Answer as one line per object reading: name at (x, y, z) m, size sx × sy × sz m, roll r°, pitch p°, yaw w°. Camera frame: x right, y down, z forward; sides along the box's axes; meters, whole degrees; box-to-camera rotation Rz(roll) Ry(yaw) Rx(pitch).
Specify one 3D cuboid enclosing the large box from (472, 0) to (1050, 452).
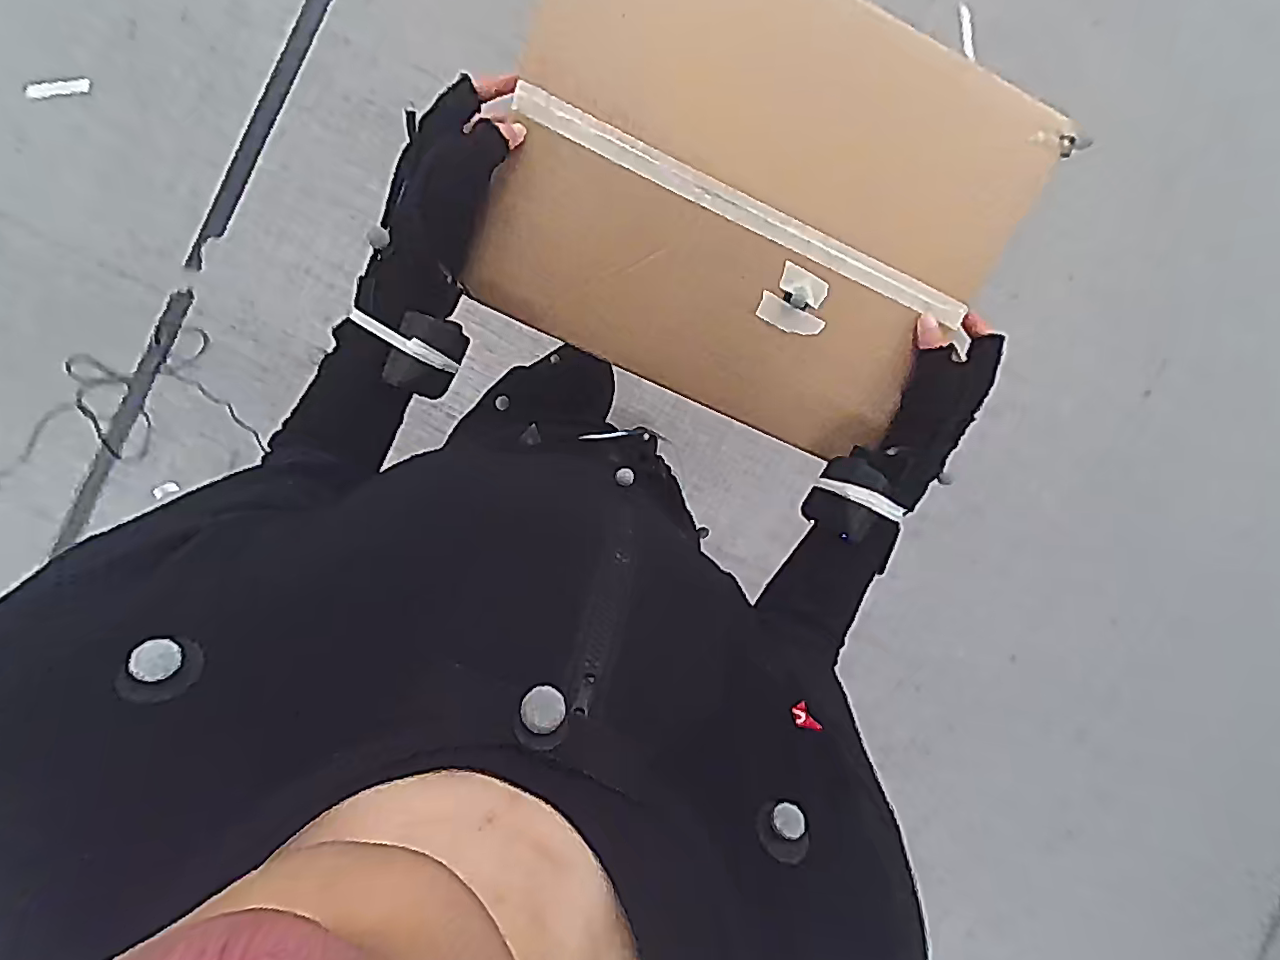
large box at (0.089, -0.279, 0.594) m, size 0.408 × 0.320 × 0.320 m, roll 23°, pitch 110°, yaw -8°
